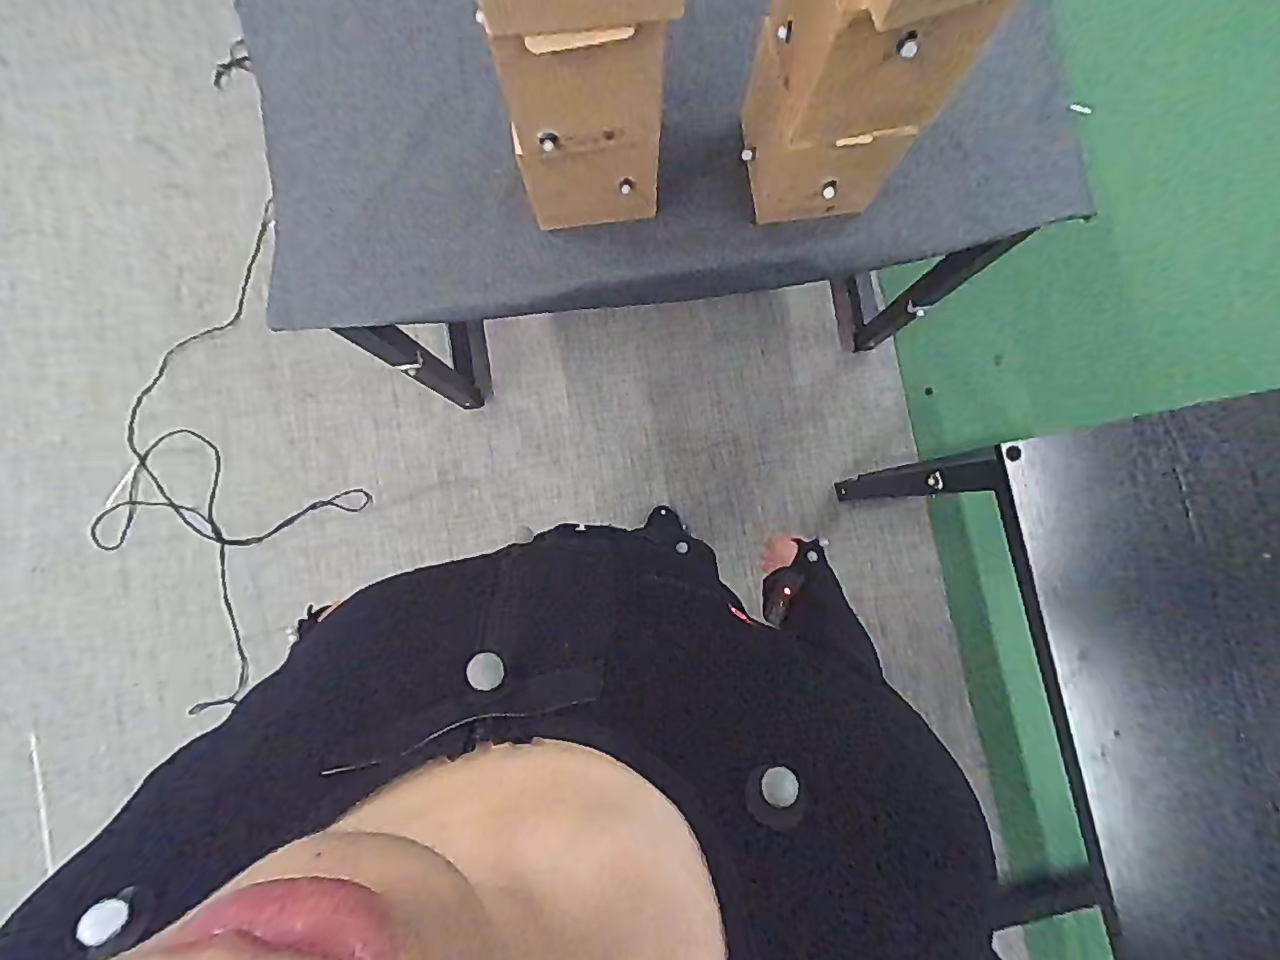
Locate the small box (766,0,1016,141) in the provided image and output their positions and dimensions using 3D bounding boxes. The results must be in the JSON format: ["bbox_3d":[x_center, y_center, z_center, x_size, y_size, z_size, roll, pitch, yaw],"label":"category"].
[{"bbox_3d":[0.247,-0.497,0.568,0.179,0.176,0.168,-9,85,1],"label":"small box"}]

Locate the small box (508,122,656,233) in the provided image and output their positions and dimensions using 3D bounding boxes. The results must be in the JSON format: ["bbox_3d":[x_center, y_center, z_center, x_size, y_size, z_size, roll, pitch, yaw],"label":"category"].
[{"bbox_3d":[-0.076,-0.464,0.733,0.179,0.176,0.168,-8,84,1],"label":"small box"}]

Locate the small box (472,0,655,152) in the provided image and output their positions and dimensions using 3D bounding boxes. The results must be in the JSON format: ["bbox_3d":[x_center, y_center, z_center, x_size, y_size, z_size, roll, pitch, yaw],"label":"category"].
[{"bbox_3d":[-0.078,-0.480,0.569,0.168,0.176,0.179,-11,83,-1],"label":"small box"}]

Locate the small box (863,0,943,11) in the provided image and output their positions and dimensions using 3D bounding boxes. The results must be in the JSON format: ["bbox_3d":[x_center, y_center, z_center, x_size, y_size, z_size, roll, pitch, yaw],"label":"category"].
[{"bbox_3d":[0.254,-0.505,0.402,0.168,0.176,0.179,-18,85,-1],"label":"small box"}]

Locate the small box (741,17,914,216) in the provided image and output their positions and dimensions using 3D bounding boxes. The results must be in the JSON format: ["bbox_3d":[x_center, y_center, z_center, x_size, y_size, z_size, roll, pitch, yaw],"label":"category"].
[{"bbox_3d":[0.239,-0.481,0.730,0.168,0.176,0.179,-8,85,0],"label":"small box"}]
